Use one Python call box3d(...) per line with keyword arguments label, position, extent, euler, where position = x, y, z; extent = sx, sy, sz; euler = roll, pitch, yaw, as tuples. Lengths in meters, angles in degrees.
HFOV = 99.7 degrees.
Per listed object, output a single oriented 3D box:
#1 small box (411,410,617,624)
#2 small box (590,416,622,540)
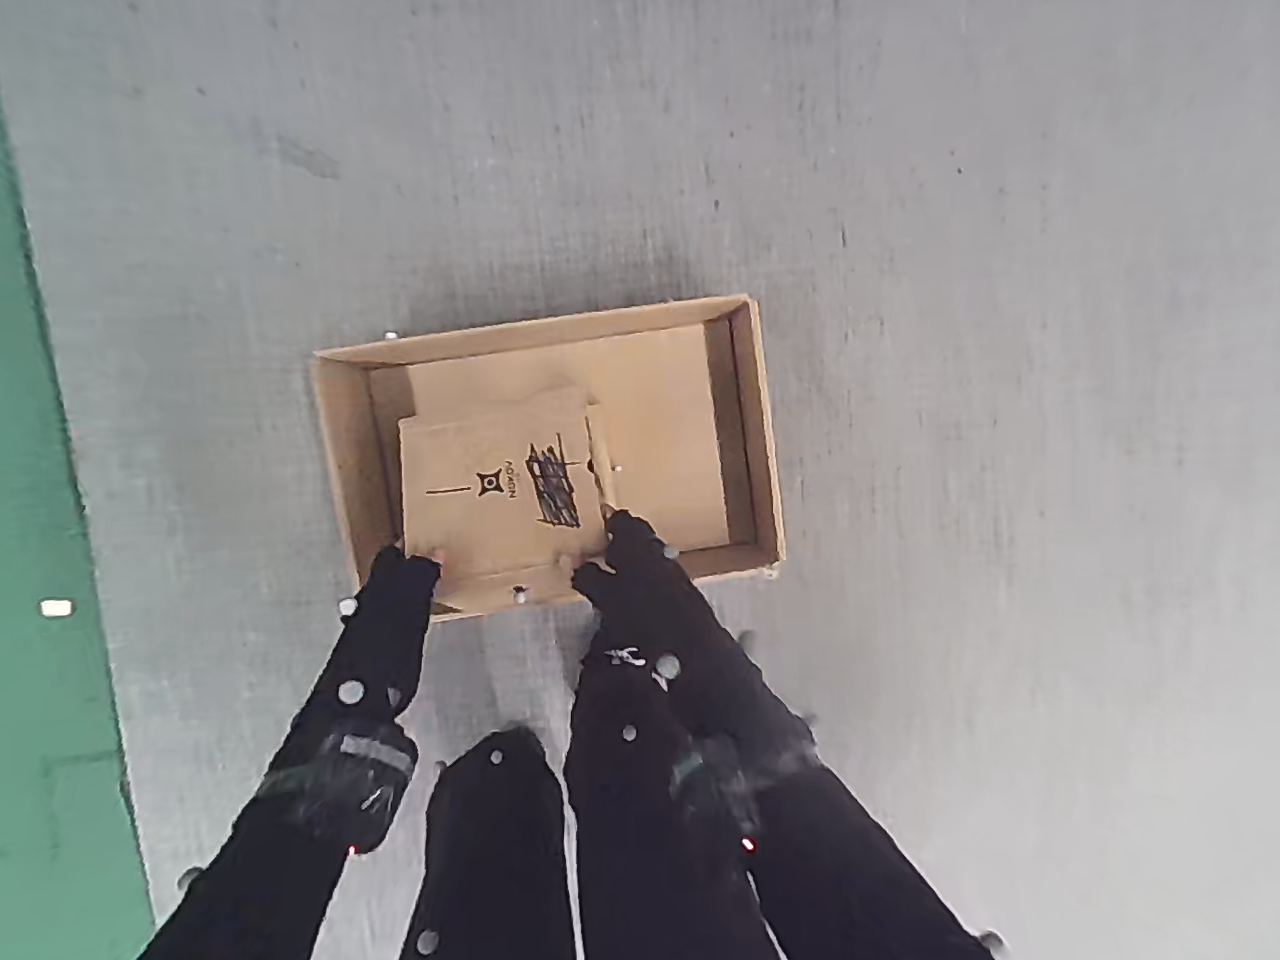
box3d(label="small box", position=(-0.121, 0.048, 0.570), extent=(0.179, 0.176, 0.168), euler=(-10, 67, -1))
box3d(label="small box", position=(-0.119, 0.002, 0.823), extent=(0.168, 0.176, 0.179), euler=(-9, 94, -1))
